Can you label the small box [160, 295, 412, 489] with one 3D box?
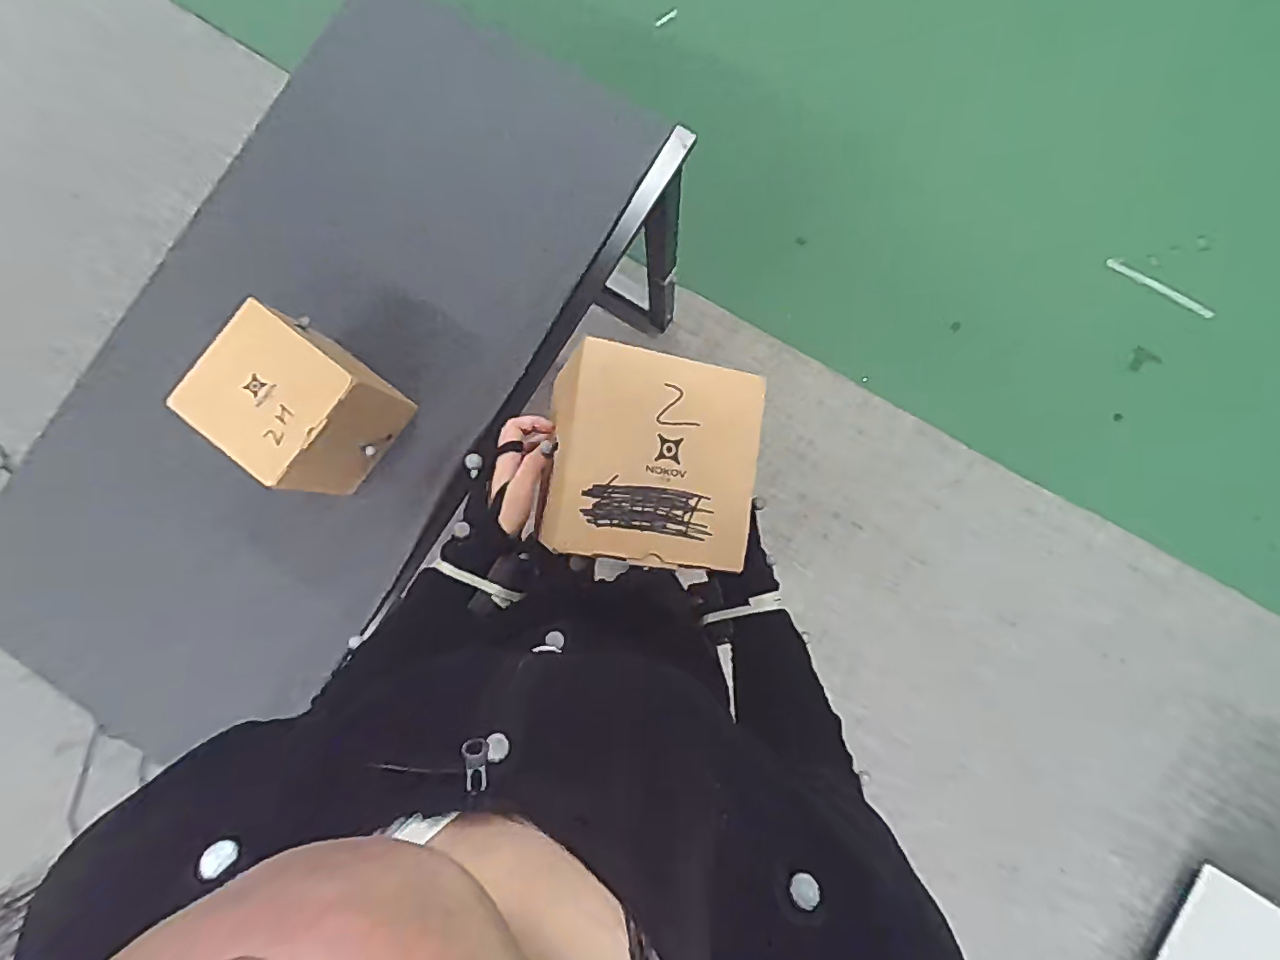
[{"bbox_3d":[-0.446,-0.100,0.711,0.179,0.176,0.168,37,88,5],"label":"small box"}]
